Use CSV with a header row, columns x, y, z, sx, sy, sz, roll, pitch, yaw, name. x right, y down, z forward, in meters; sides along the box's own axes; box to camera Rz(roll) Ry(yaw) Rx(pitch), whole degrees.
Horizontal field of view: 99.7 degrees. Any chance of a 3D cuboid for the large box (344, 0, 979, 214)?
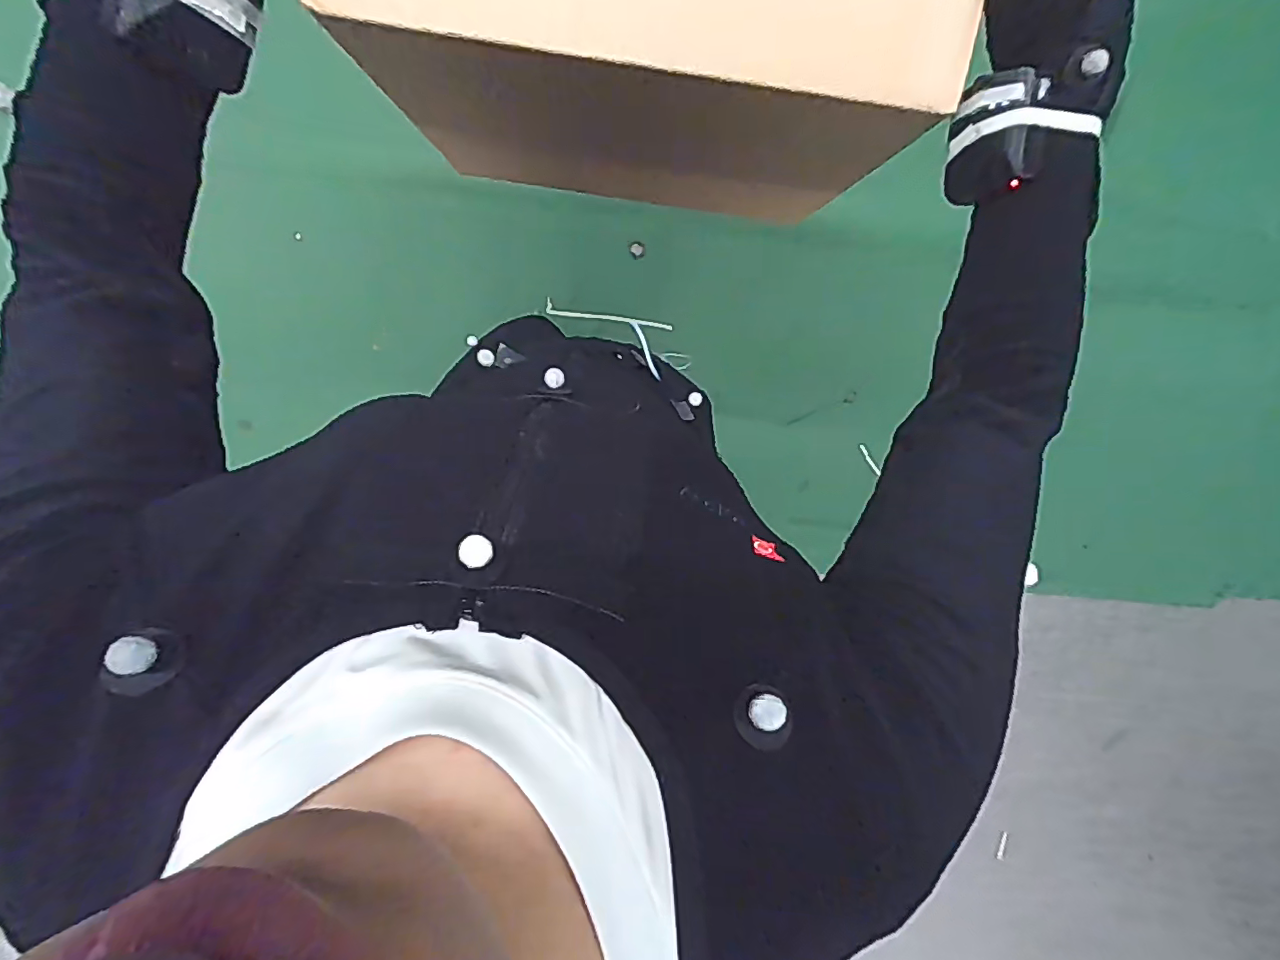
x,y,z,sx,sy,sz,roll,pitch,yaw,name
0.021,-0.448,0.453,0.408,0.320,0.320,6,103,-5,large box
